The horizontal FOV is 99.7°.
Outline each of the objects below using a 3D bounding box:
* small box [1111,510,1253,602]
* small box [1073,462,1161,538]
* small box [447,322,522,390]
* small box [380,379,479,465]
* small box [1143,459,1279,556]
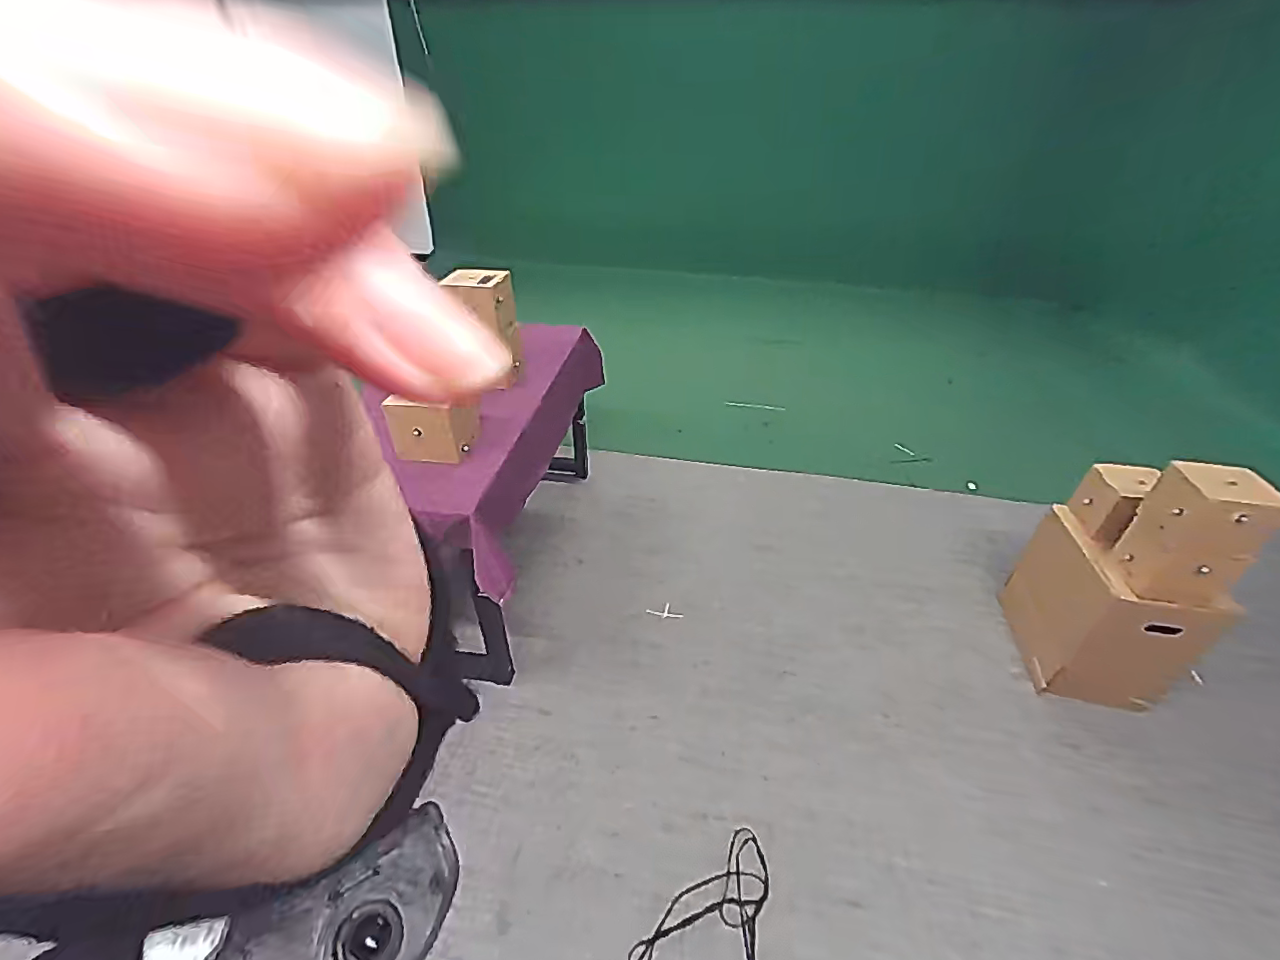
[{"bbox_3d":[1.415,0.202,1.429,0.179,0.176,0.168,6,36,8],"label":"small box"},{"bbox_3d":[1.443,0.065,1.614,0.179,0.176,0.168,6,39,9],"label":"small box"},{"bbox_3d":[-0.505,-0.410,1.786,0.179,0.176,0.168,6,37,8],"label":"small box"},{"bbox_3d":[-0.548,-0.154,1.439,0.179,0.176,0.168,3,36,6],"label":"small box"},{"bbox_3d":[1.406,0.069,1.334,0.179,0.176,0.168,7,36,9],"label":"small box"}]
